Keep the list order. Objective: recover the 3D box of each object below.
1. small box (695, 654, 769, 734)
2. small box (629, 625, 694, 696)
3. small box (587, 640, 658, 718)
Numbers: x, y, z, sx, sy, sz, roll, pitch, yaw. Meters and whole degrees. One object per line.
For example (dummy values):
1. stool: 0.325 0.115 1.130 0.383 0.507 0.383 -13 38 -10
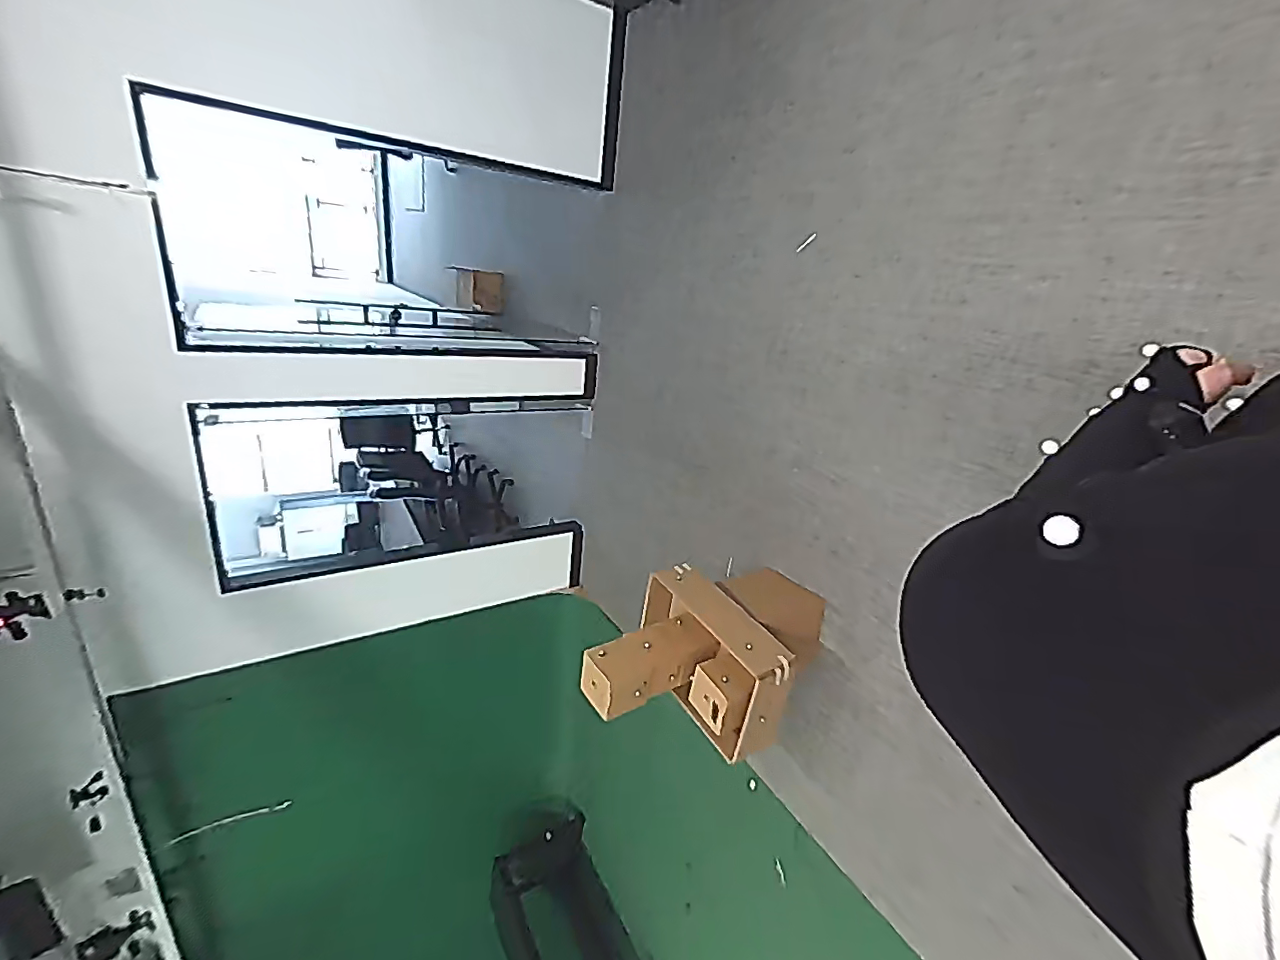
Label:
1. small box: 0.321 0.733 1.873 0.179 0.176 0.168 41 128 49
2. small box: 0.067 0.649 1.962 0.179 0.176 0.168 36 125 46
3. small box: -0.061 0.674 1.860 0.179 0.176 0.168 34 124 47
